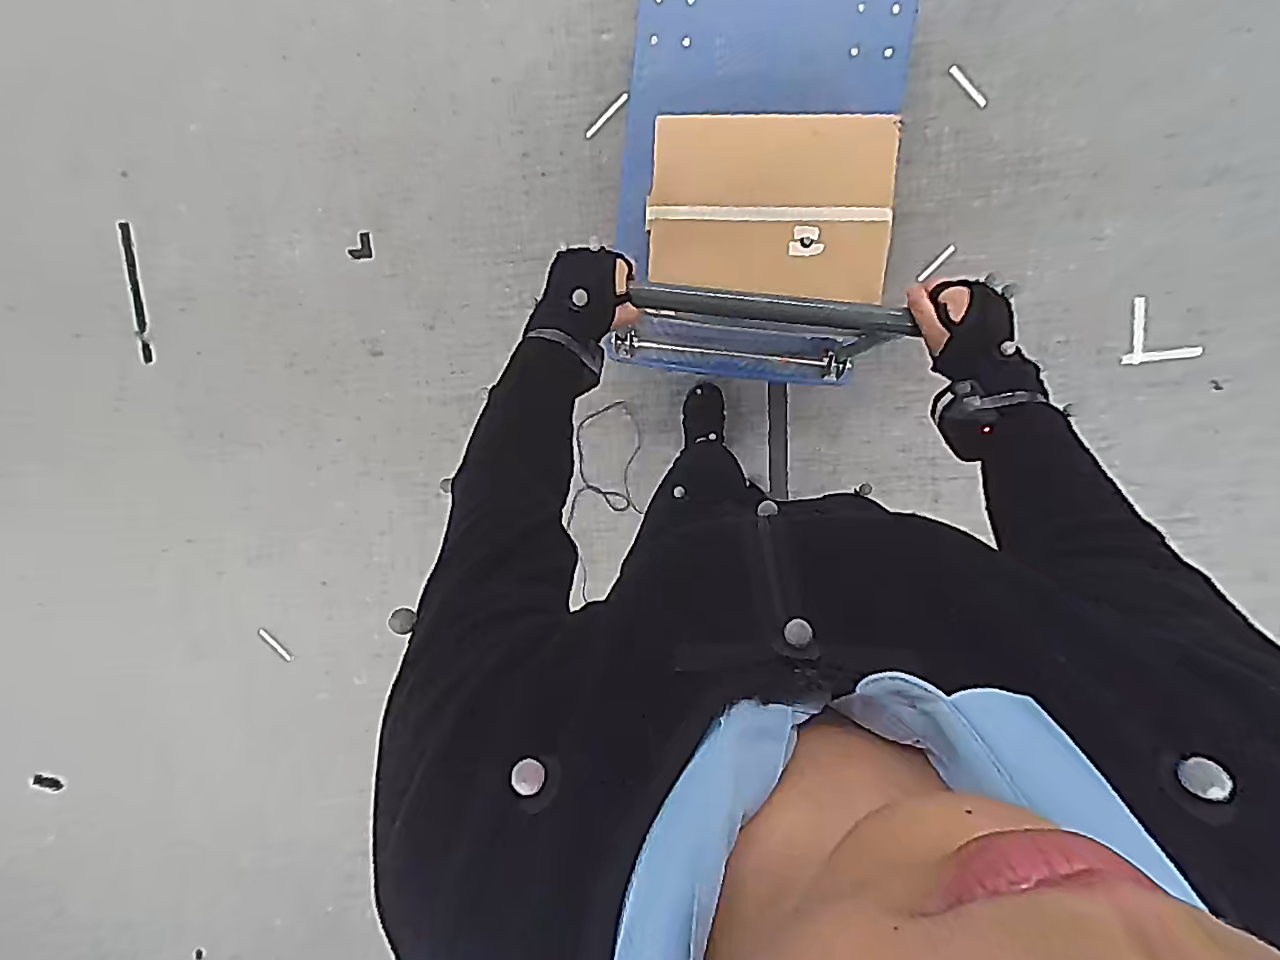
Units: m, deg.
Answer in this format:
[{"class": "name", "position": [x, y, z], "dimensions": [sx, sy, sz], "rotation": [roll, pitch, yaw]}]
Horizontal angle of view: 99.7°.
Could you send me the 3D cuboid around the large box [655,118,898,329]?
[{"class": "large box", "position": [0.238, -0.479, 1.081], "dimensions": [0.408, 0.320, 0.320], "rotation": [3, 100, 5]}]
